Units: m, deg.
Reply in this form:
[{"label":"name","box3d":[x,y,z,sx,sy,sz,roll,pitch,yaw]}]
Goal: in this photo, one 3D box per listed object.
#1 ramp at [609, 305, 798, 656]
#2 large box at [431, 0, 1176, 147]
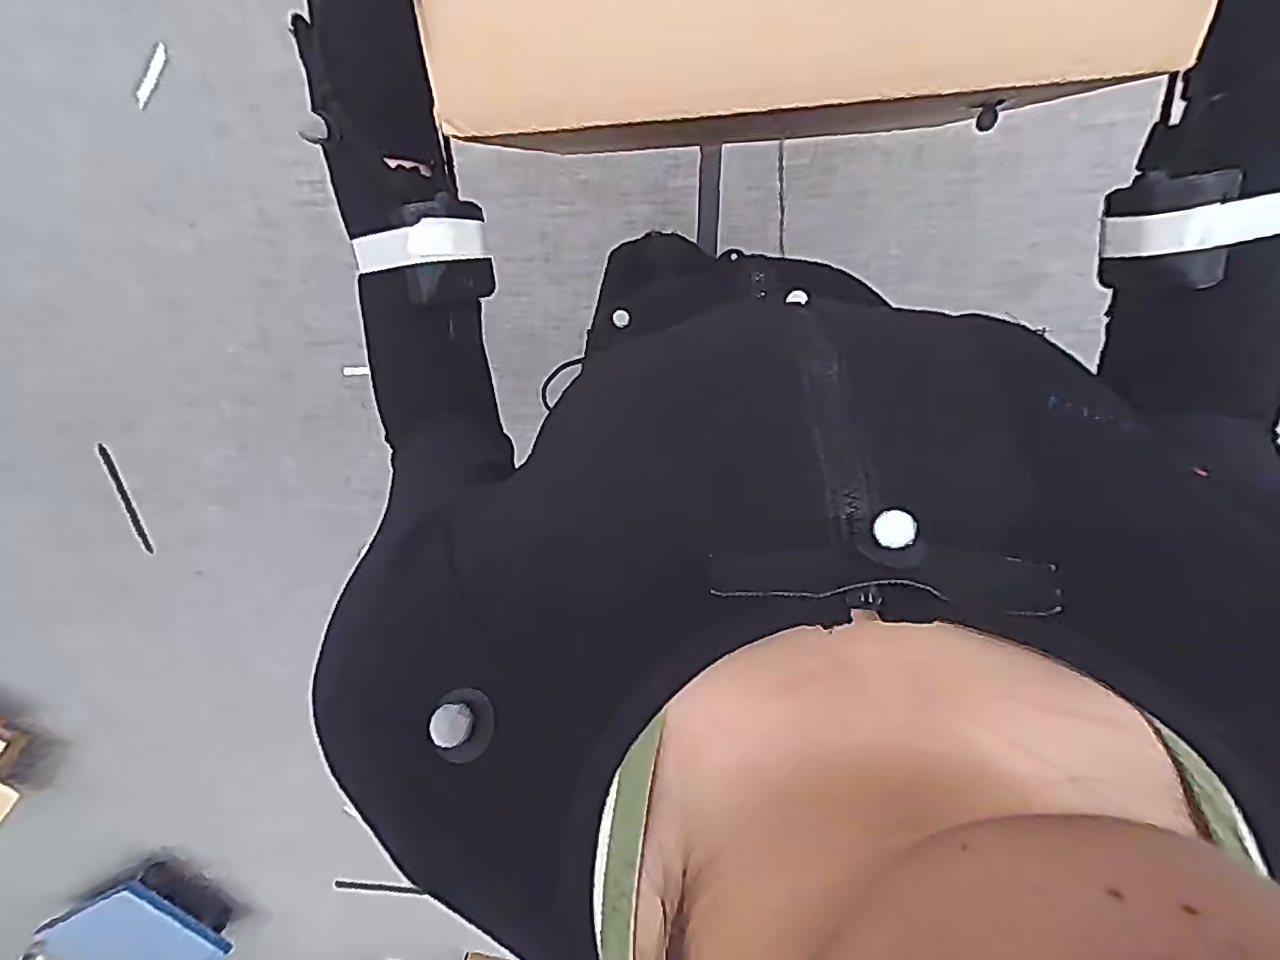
[{"label":"ramp","box3d":[0.159,0.034,1.510,0.509,0.206,0.991,0,114,6]},{"label":"large box","box3d":[0.086,-0.426,0.368,0.408,0.320,0.320,-1,119,7]}]
